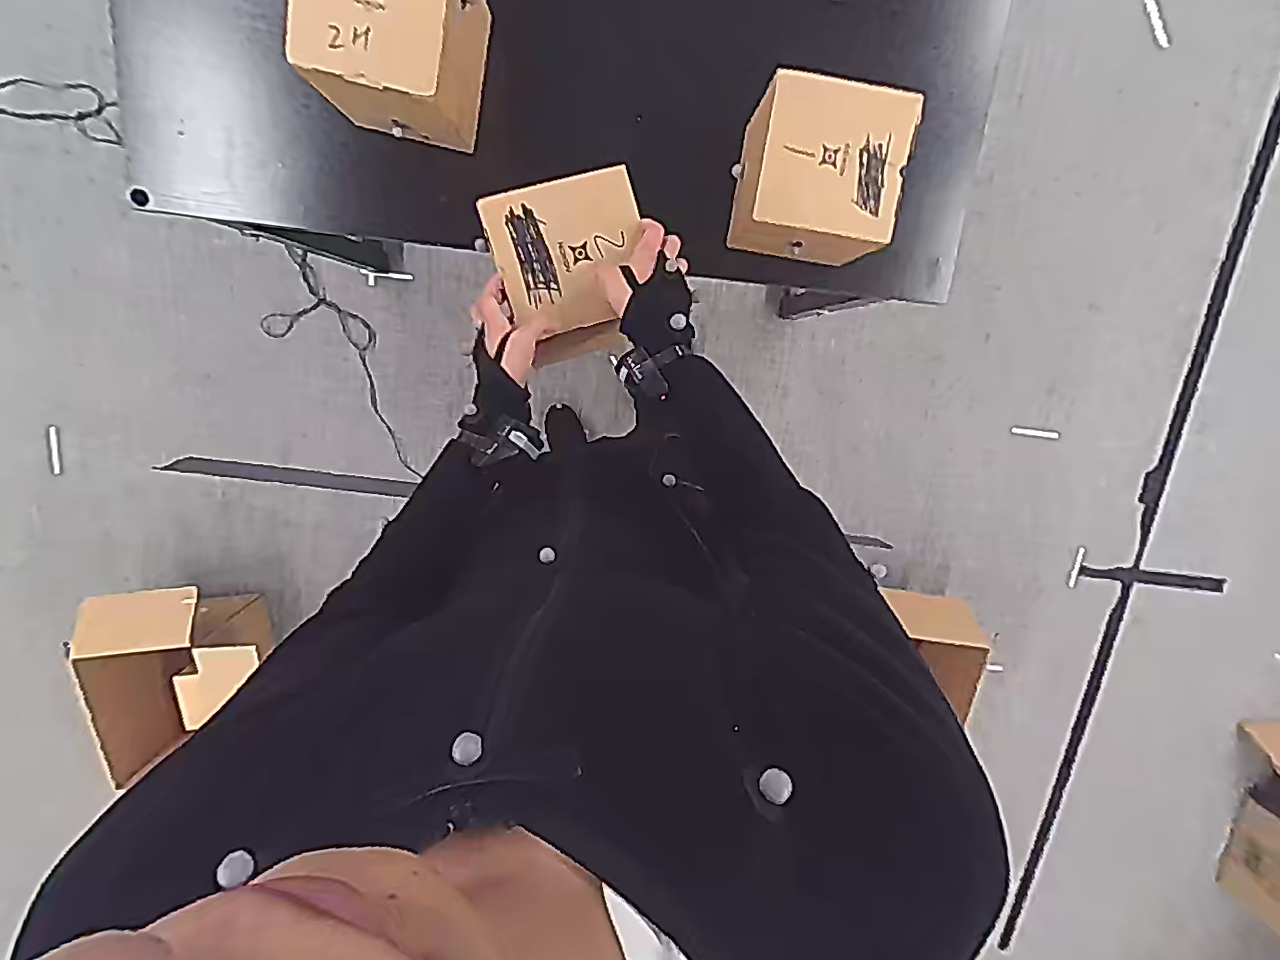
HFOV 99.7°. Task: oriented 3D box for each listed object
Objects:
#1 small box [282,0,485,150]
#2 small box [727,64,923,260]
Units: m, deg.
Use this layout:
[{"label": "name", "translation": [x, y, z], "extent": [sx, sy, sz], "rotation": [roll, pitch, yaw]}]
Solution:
[{"label": "small box", "translation": [-0.296, -0.540, 0.655], "extent": [0.168, 0.176, 0.179], "rotation": [11, 103, -5]}, {"label": "small box", "translation": [0.226, -0.397, 0.710], "extent": [0.179, 0.176, 0.168], "rotation": [8, 102, -3]}]
